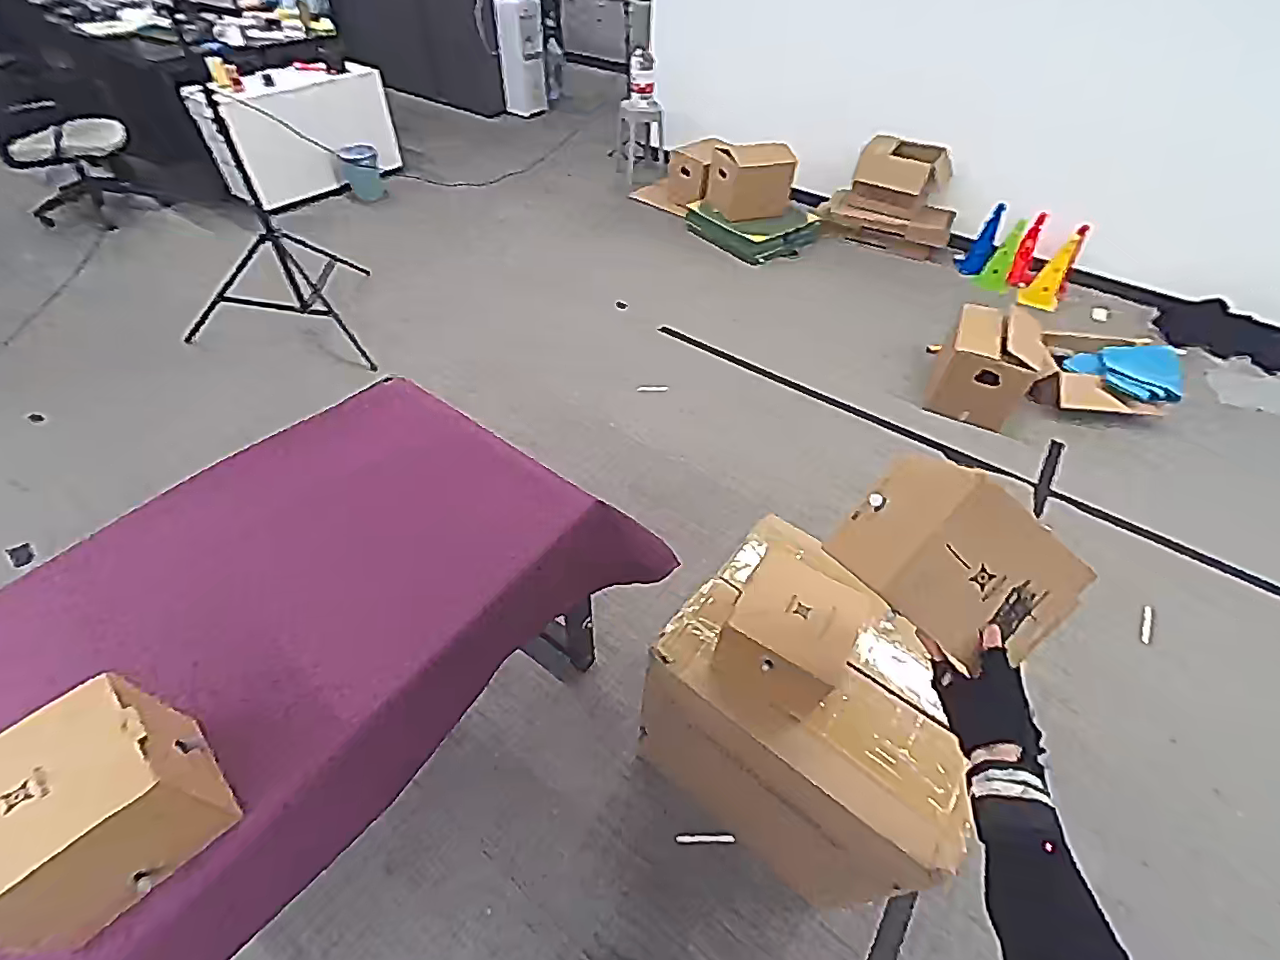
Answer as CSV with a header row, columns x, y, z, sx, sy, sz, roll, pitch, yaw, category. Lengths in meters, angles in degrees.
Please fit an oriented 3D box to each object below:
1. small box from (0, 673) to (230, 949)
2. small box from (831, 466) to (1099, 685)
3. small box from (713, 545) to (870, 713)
x,y,z,sx,sy,sz,roll,pitch,yaw,category
-0.592,0.355,0.586,0.168,0.176,0.179,35,55,27,small box
0.368,0.098,0.648,0.179,0.176,0.168,40,95,-5,small box
0.234,0.243,0.871,0.179,0.176,0.168,27,55,19,small box
